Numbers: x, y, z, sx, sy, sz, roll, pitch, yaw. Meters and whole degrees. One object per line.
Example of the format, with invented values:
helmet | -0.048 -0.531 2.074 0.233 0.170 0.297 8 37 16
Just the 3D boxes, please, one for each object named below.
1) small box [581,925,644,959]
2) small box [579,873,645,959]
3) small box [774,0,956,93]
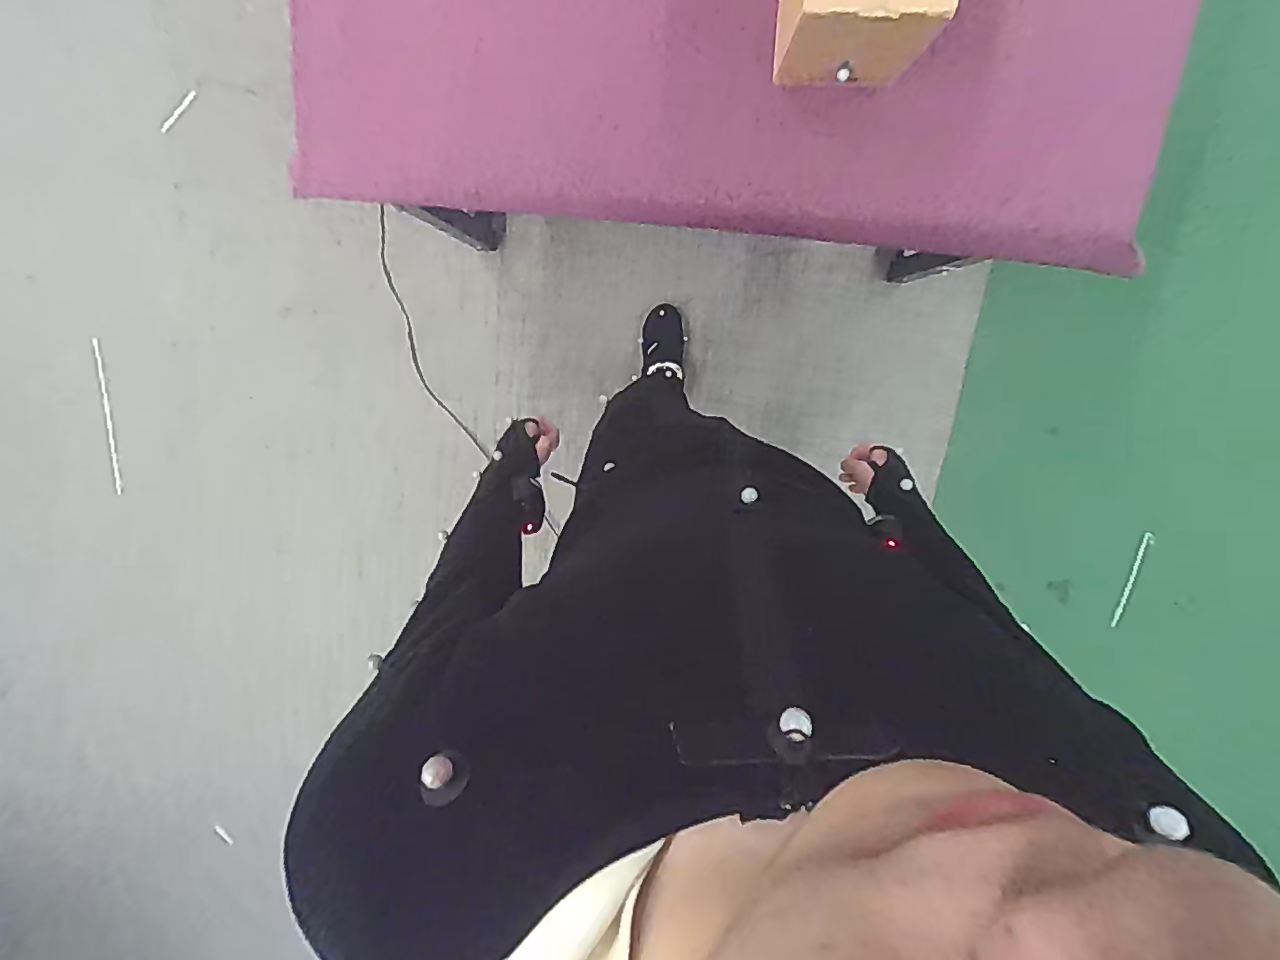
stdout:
small box | -0.085 1.375 1.472 0.168 0.176 0.179 13 105 -1
small box | -0.081 1.346 1.634 0.168 0.176 0.179 11 104 0
small box | 0.262 -0.601 0.643 0.168 0.176 0.179 2 103 2
